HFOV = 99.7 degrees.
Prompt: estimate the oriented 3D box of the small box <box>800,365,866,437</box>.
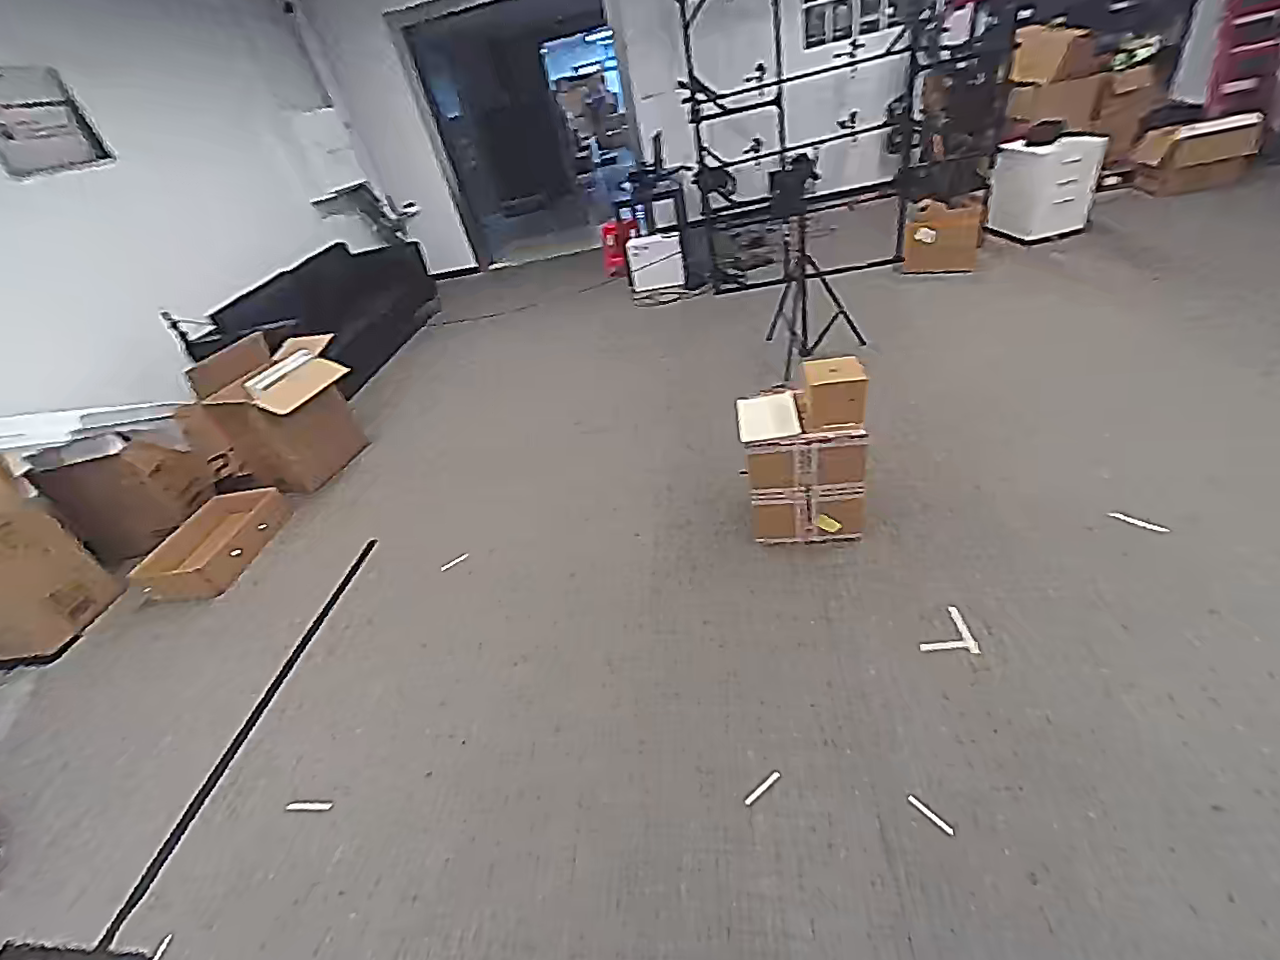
[{"bbox_3d":[0.642,-0.264,1.818,0.179,0.176,0.168,-7,38,9],"label":"small box"}]
